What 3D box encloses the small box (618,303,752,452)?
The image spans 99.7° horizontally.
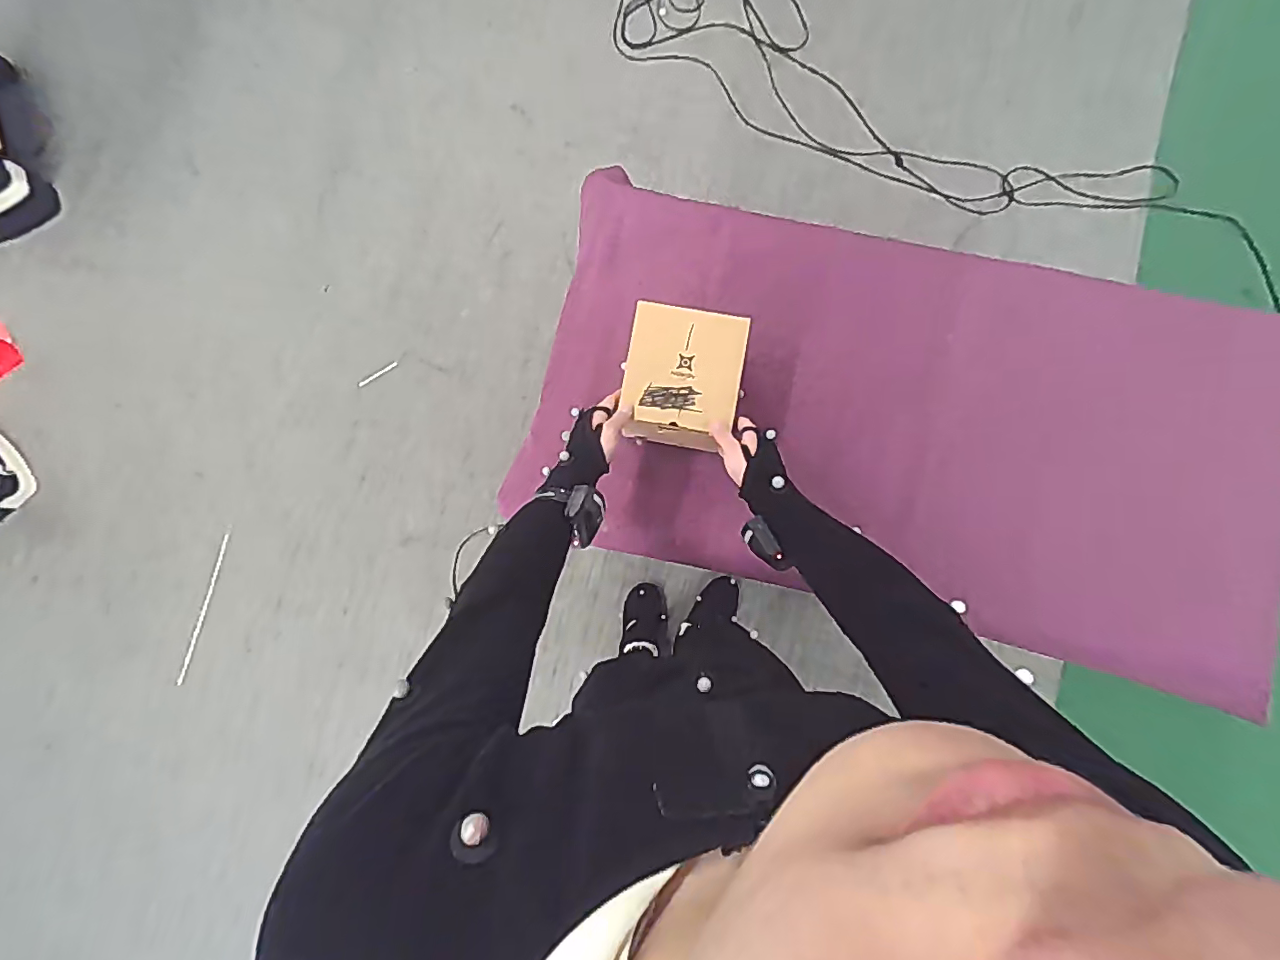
[{"bbox_3d":[0.067,-0.147,0.841,0.168,0.176,0.179,11,85,3],"label":"small box"}]
